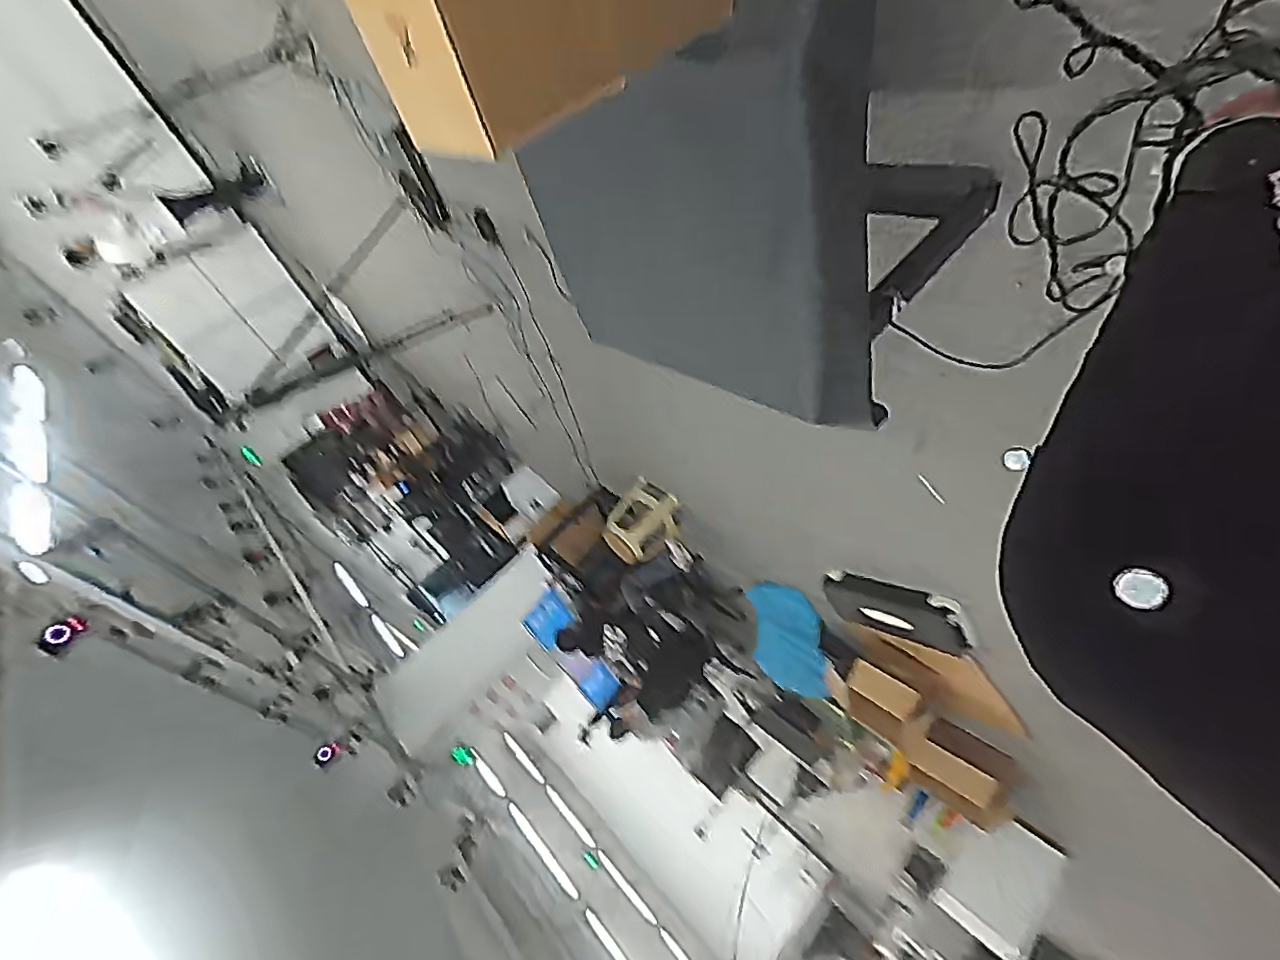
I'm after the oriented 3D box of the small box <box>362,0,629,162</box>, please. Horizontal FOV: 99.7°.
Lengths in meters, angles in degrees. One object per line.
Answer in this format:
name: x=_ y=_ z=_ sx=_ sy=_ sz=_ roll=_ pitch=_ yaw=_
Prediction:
small box: x=-0.131 y=-0.427 z=0.499 sx=0.168 sy=0.176 sz=0.179 roll=33 pitch=154 yaw=37
